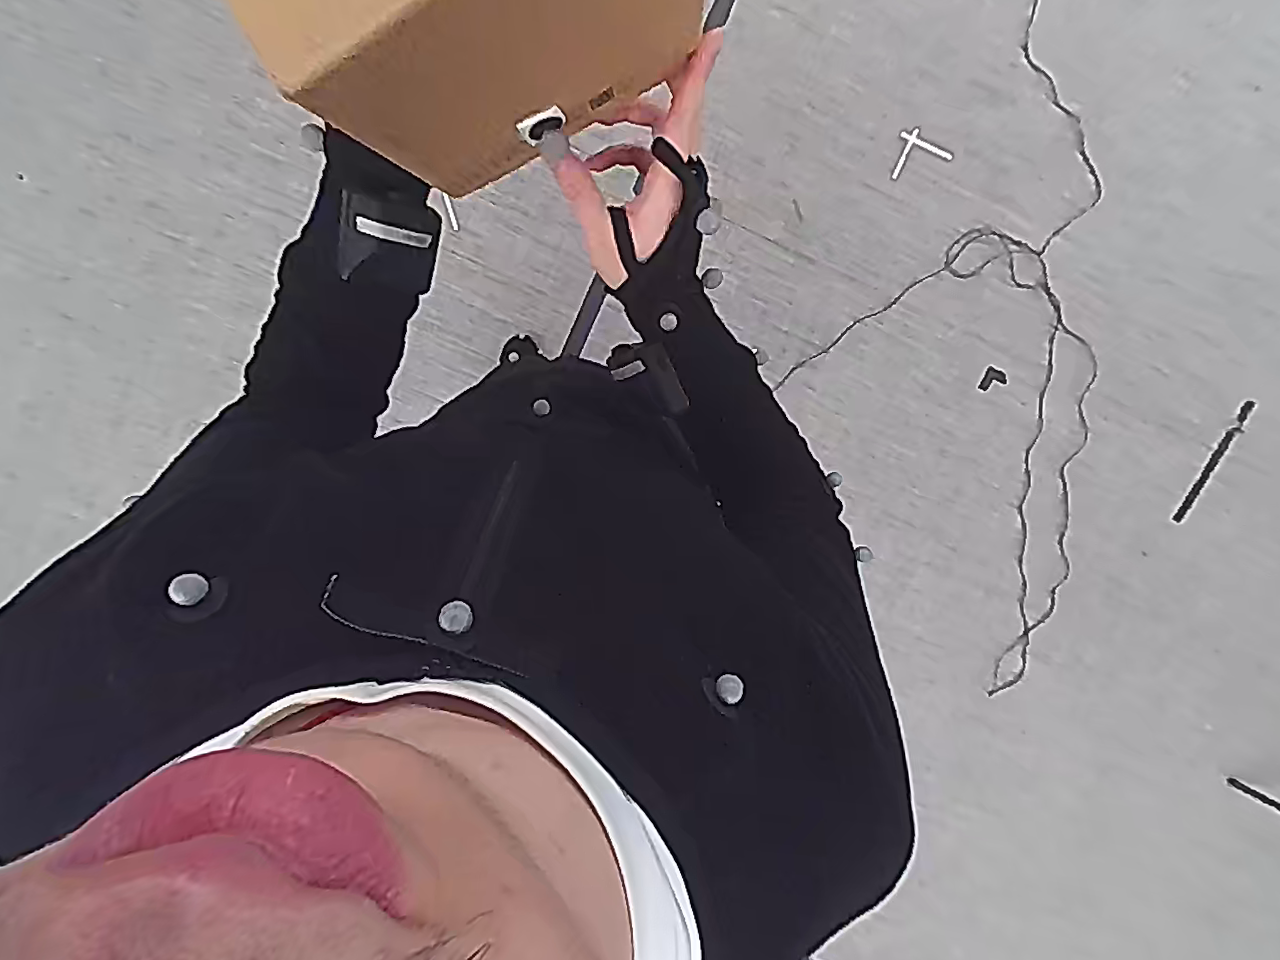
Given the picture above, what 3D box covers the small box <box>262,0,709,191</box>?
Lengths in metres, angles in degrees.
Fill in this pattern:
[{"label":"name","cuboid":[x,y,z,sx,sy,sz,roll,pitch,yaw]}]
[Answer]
[{"label":"small box","cuboid":[-0.076,-0.265,0.238,0.168,0.176,0.179,-25,104,10]}]
